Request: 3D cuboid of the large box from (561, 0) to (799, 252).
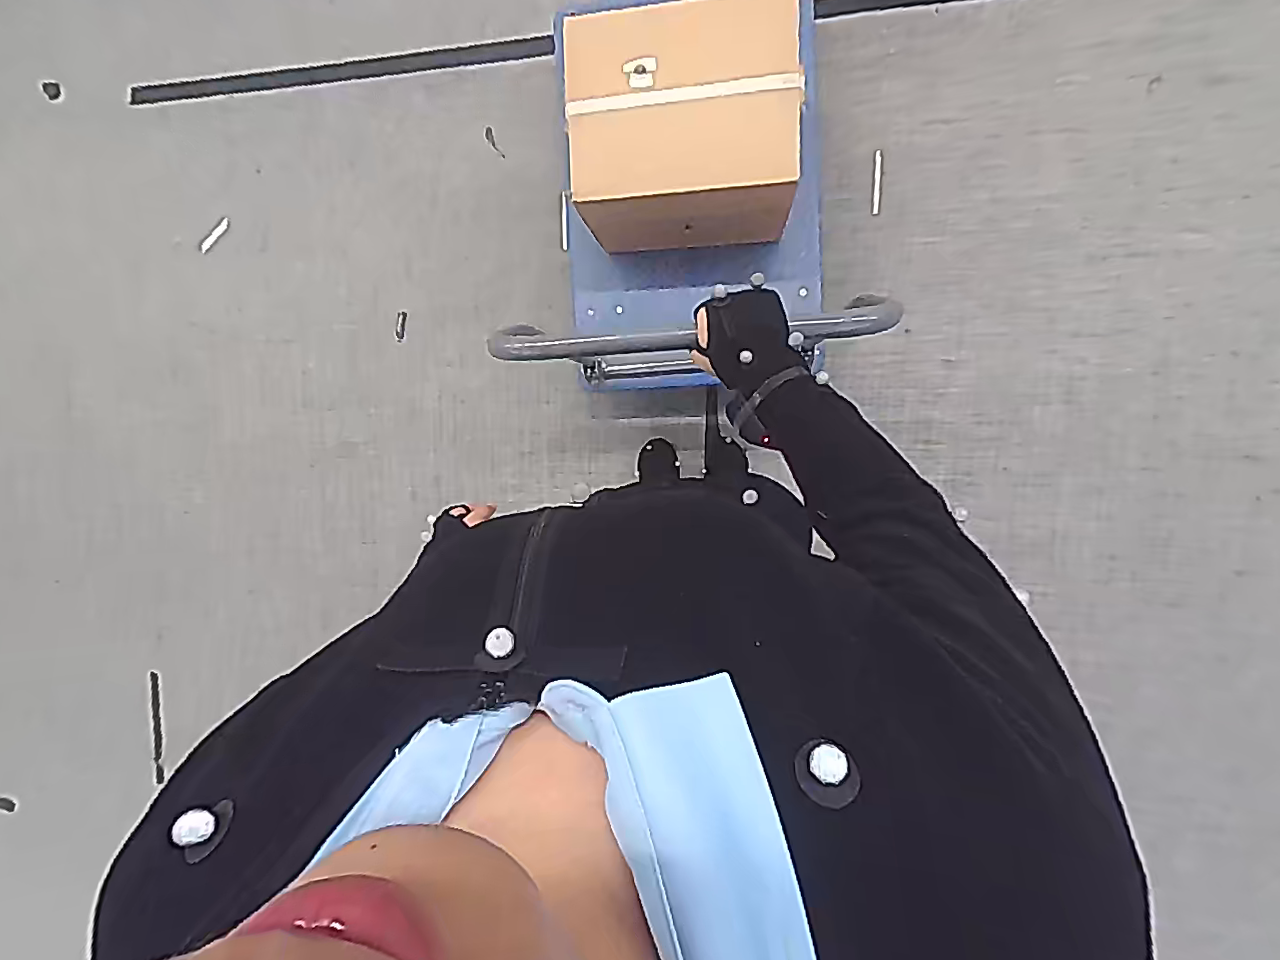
[{"bbox_3d":[0.089,-0.671,1.071,0.408,0.320,0.320,-1,95,10],"label":"large box"}]
